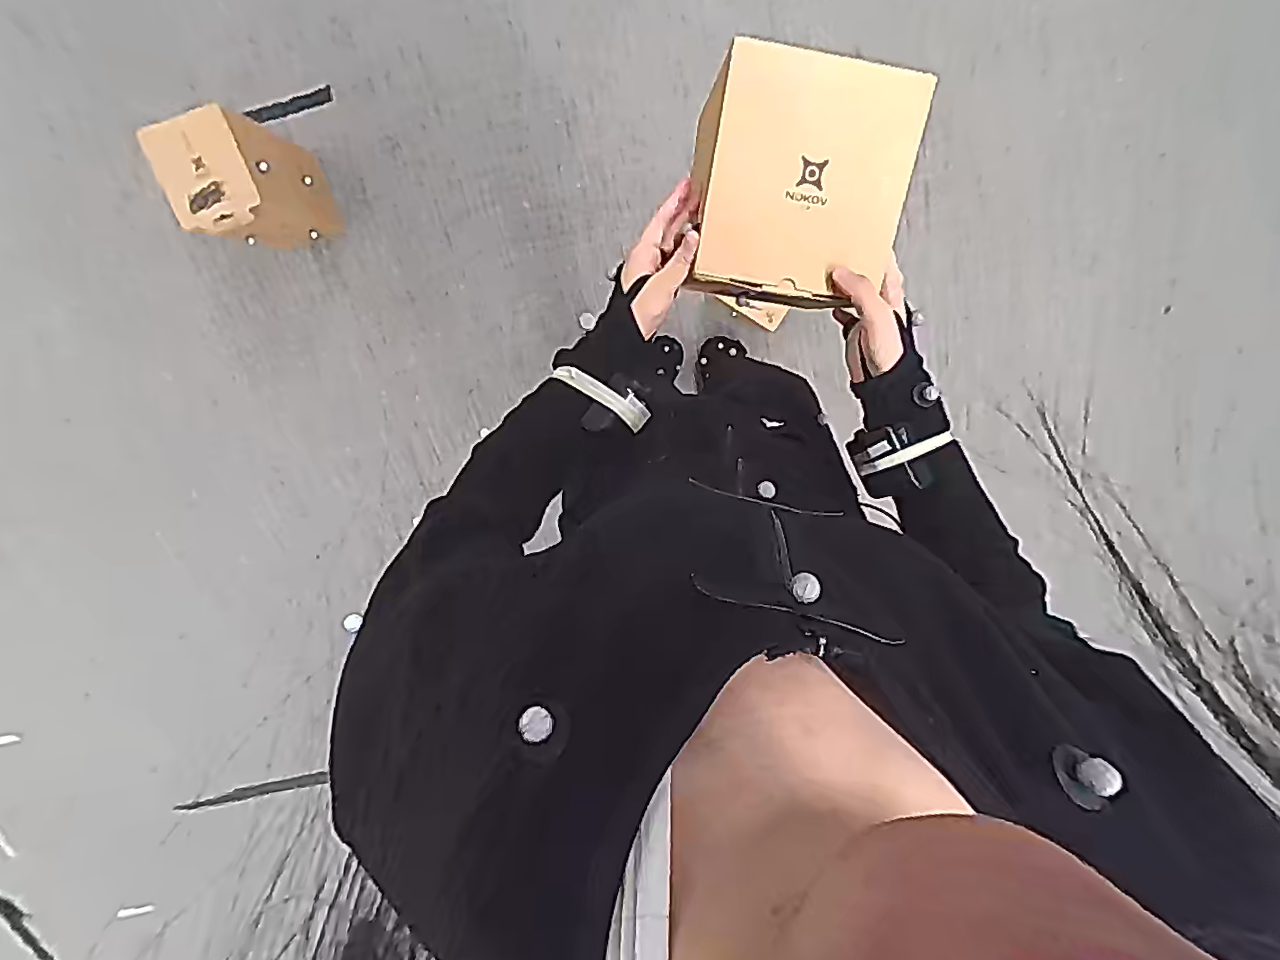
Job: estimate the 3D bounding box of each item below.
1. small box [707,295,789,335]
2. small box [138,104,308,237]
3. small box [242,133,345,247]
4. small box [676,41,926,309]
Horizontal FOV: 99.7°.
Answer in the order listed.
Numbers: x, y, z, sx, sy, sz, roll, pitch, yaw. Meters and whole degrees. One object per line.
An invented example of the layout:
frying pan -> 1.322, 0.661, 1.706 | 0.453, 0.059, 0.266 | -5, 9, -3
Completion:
small box -> 0.277, -0.470, 1.297 | 0.168, 0.176, 0.179 | 29, 104, -10
small box -> -0.801, -0.593, 1.064 | 0.168, 0.176, 0.179 | -16, 106, 3
small box -> -0.810, -0.641, 1.221 | 0.168, 0.176, 0.179 | -17, 106, 3
small box -> 0.132, -0.266, 0.518 | 0.168, 0.176, 0.179 | 6, 107, -5
